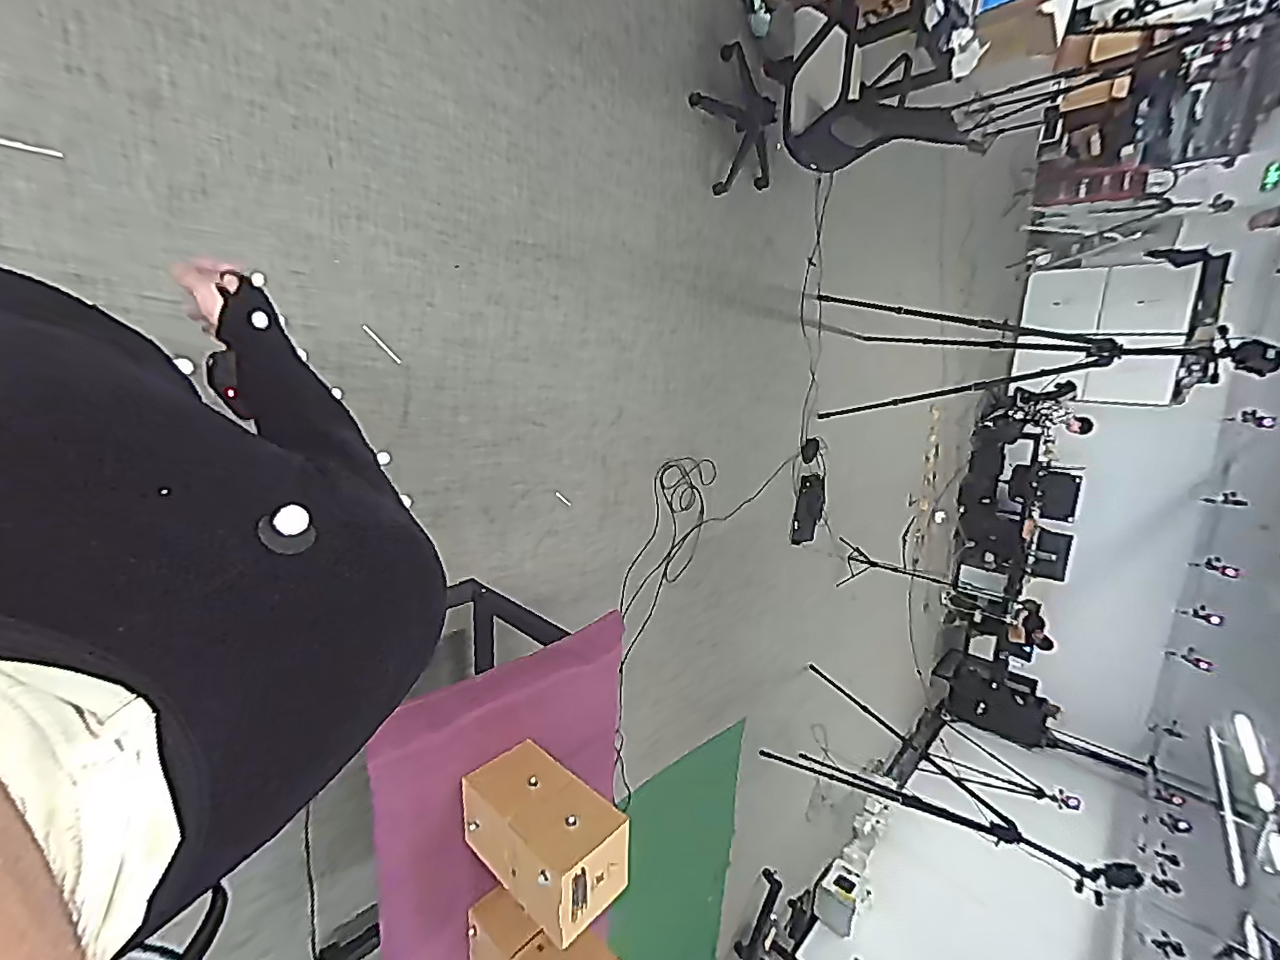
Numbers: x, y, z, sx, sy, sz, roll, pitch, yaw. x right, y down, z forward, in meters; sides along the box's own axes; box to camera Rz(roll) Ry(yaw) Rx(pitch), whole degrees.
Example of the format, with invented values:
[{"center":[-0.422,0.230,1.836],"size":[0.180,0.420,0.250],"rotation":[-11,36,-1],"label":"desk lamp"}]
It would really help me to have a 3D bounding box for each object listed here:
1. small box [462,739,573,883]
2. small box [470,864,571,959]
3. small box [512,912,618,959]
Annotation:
[{"center":[-0.267,0.706,1.181],"size":[0.179,0.176,0.168],"rotation":[-12,108,-46],"label":"small box"},{"center":[-0.279,1.045,1.255],"size":[0.179,0.176,0.168],"rotation":[-11,108,-47],"label":"small box"},{"center":[-0.163,1.072,1.145],"size":[0.168,0.176,0.179],"rotation":[-10,107,-45],"label":"small box"}]
